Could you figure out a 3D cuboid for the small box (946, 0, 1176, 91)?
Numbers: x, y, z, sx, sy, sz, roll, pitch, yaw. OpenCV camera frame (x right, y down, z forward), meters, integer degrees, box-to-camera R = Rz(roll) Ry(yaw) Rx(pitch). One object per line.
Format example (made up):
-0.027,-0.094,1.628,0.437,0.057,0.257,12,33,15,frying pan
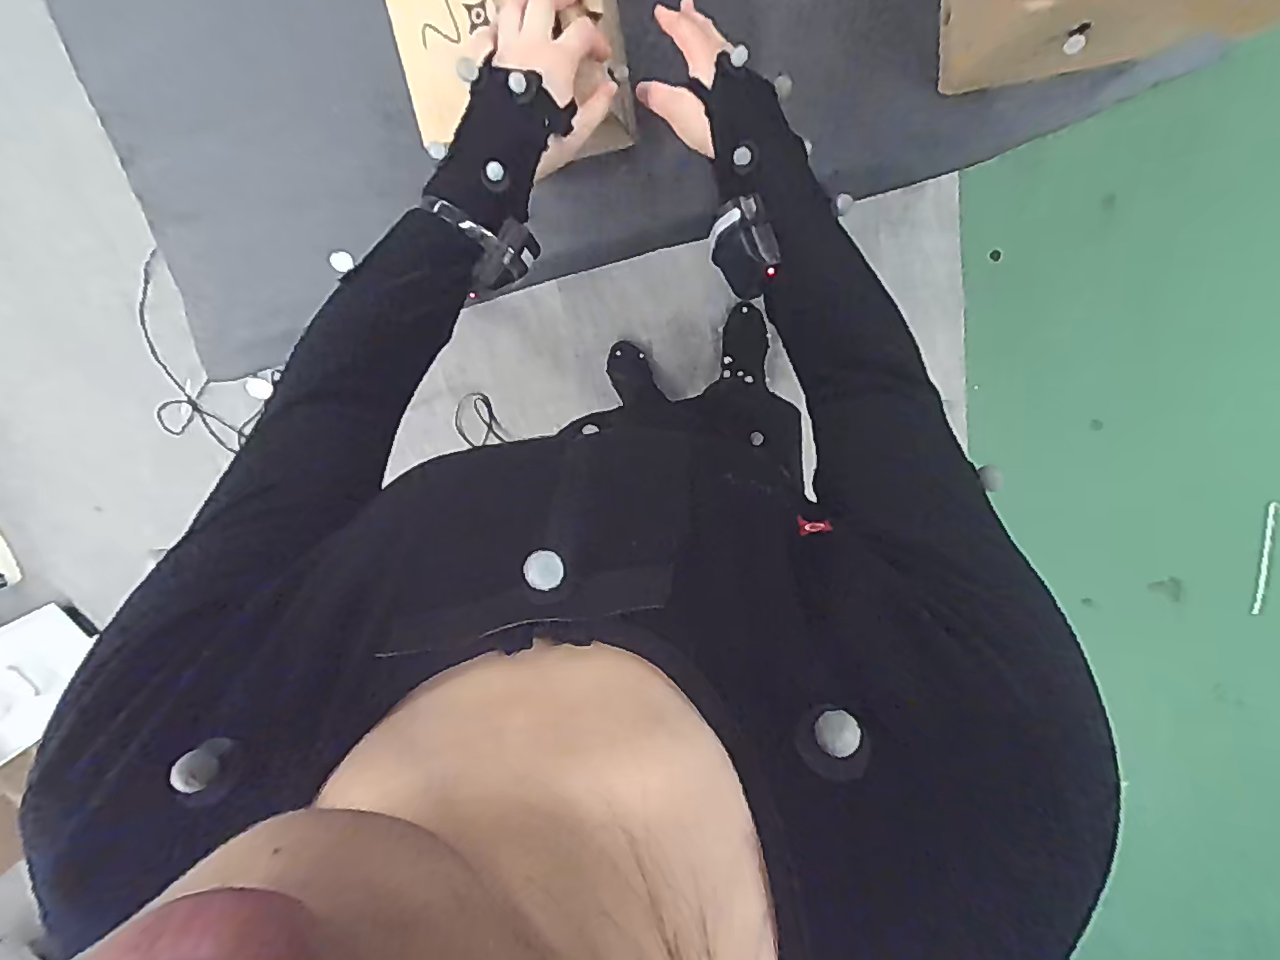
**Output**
0.361,-0.440,0.424,0.179,0.176,0.168,-4,108,12,small box
